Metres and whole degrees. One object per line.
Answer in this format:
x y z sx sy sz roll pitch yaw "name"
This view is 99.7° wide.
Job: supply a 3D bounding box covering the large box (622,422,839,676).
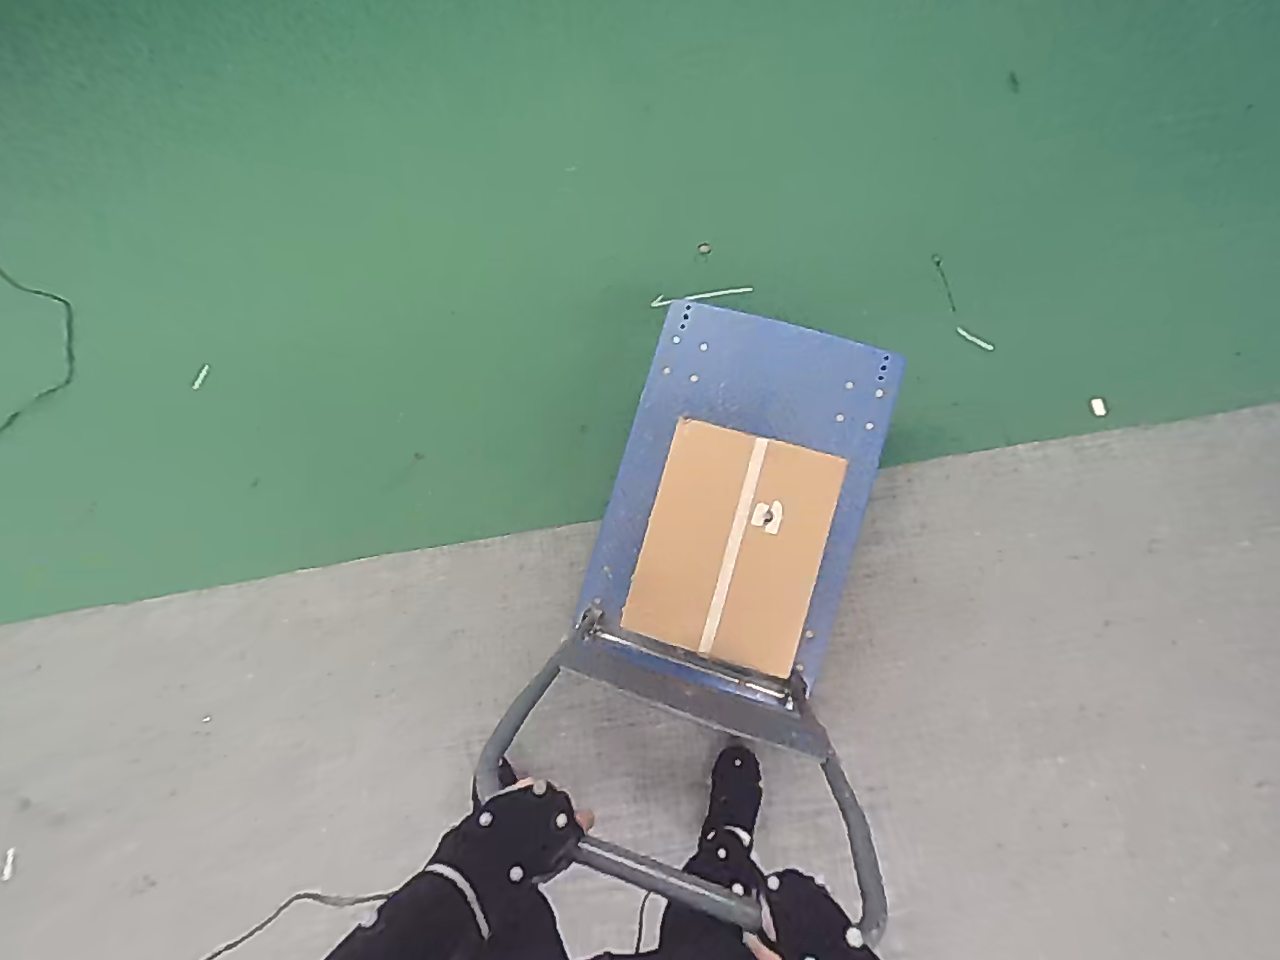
0.179 0.132 1.126 0.320 0.320 0.408 16 88 7 "large box"
